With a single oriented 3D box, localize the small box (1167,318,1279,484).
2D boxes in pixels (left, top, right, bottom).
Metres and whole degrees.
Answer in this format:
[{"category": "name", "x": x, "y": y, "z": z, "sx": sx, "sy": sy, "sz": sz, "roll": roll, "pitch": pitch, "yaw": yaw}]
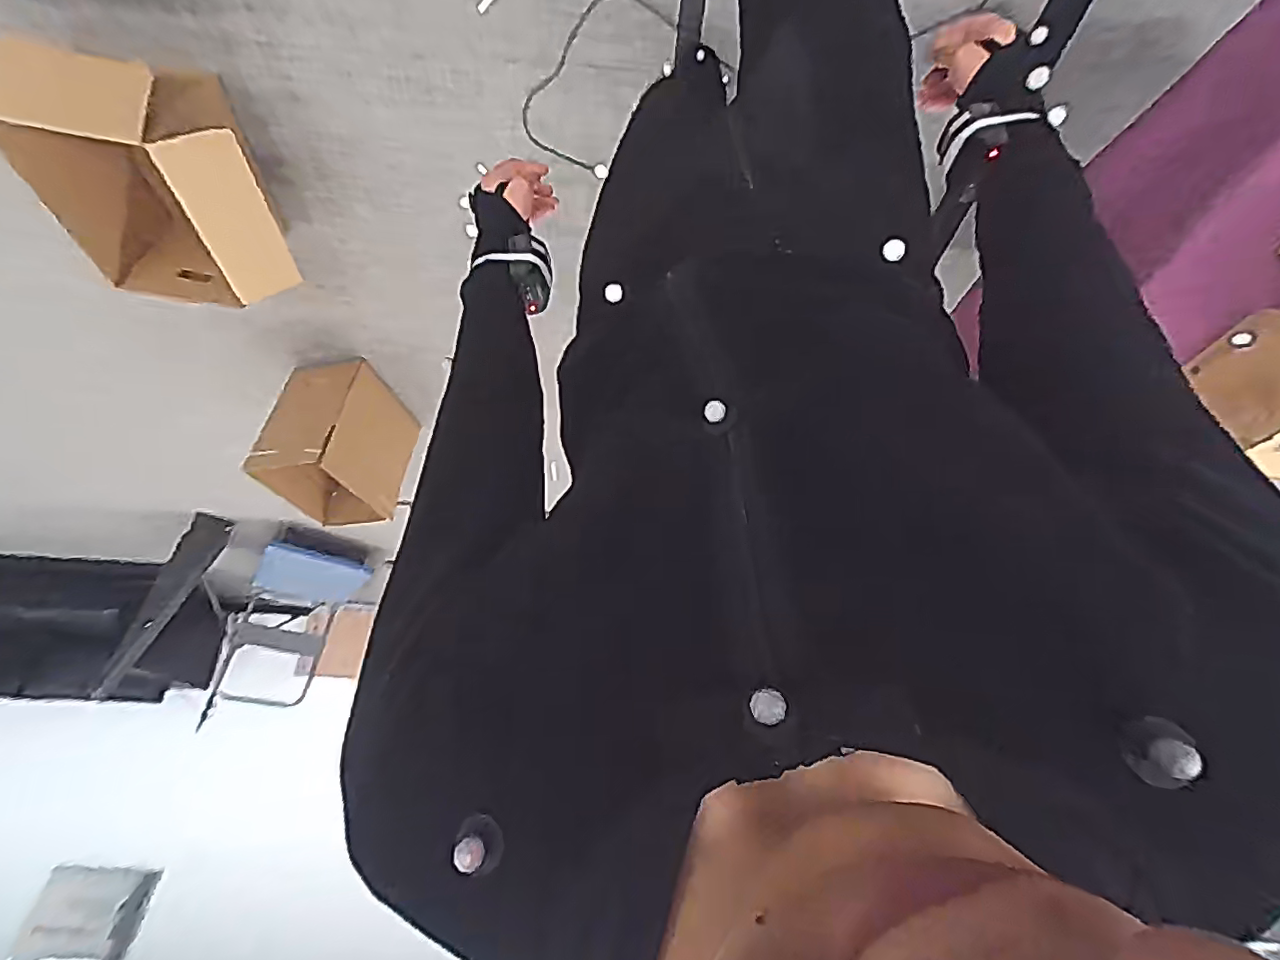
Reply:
[{"category": "small box", "x": 0.922, "y": -0.110, "z": 0.762, "sx": 0.179, "sy": 0.176, "sz": 0.168, "roll": 3, "pitch": 148, "yaw": -2}]
